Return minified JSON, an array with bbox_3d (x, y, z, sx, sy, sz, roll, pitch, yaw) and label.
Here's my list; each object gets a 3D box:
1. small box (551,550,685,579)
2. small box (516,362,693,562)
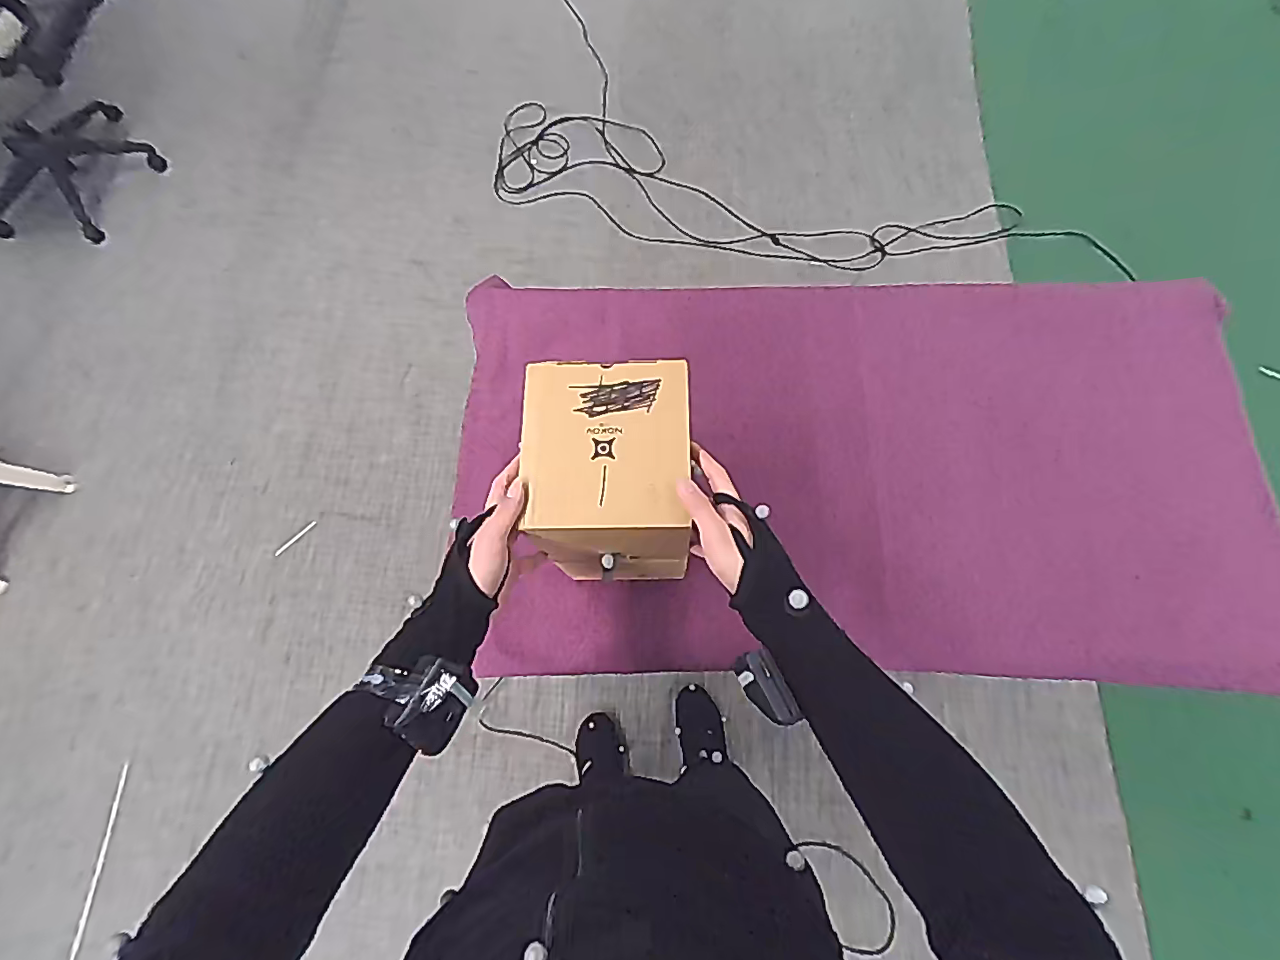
[{"bbox_3d":[-0.021,0.042,0.750,0.168,0.176,0.179,-1,71,3],"label":"small box"},{"bbox_3d":[-0.028,-0.012,0.595,0.168,0.176,0.179,-1,72,3],"label":"small box"}]
